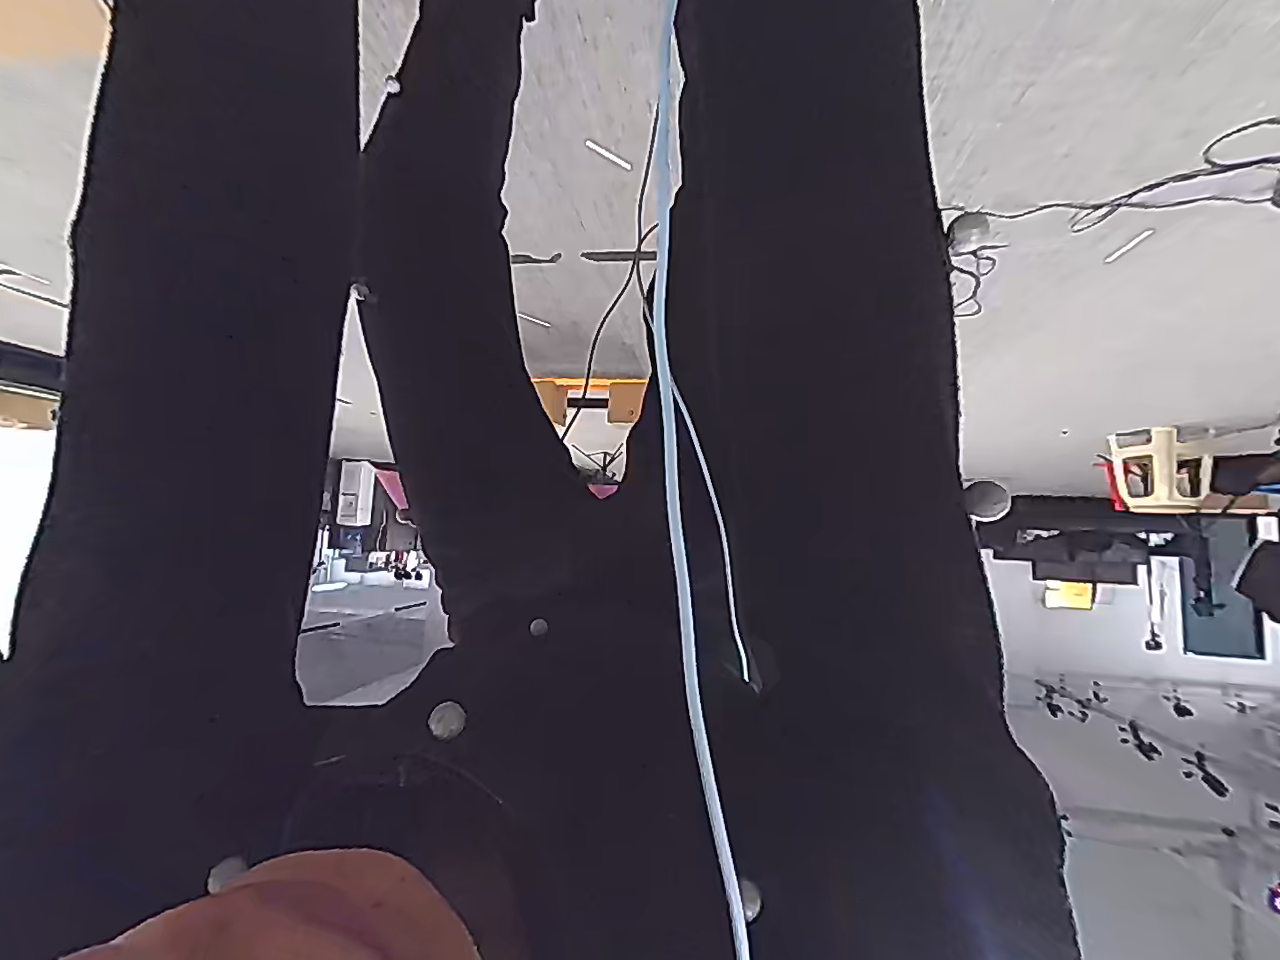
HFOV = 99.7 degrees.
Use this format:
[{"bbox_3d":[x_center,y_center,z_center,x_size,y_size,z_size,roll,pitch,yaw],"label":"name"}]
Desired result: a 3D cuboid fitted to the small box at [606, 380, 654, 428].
[{"bbox_3d":[-0.037,-0.321,2.285,0.179,0.176,0.168,4,176,11],"label":"small box"}]
